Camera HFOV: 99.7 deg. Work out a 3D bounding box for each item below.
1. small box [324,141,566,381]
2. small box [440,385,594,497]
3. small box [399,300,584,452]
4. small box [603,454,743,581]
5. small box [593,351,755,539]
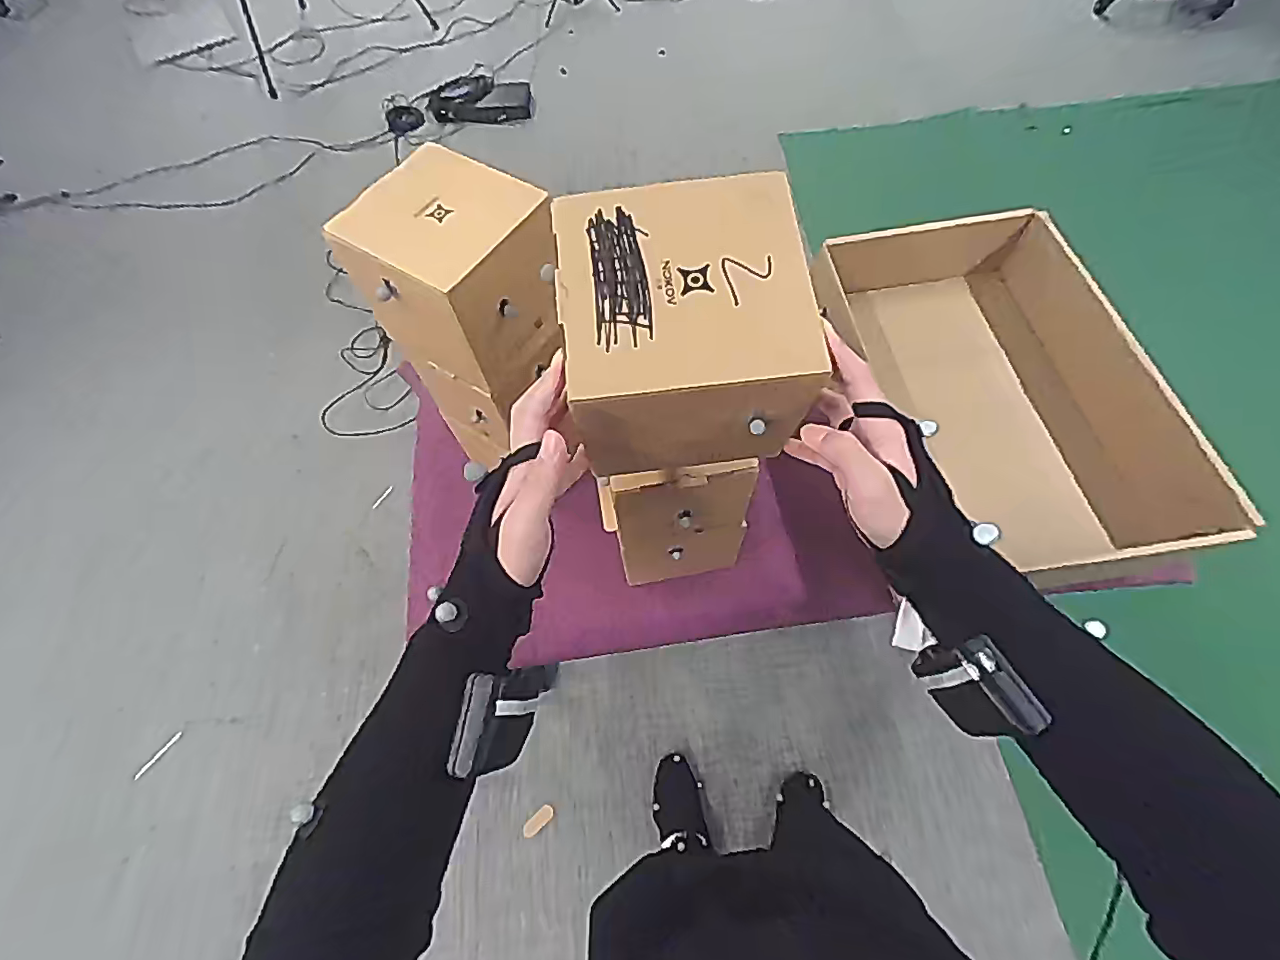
[{"bbox_3d":[-0.206,-0.242,0.629,0.179,0.176,0.168,30,69,15],"label":"small box"},{"bbox_3d":[-0.195,-0.093,0.917,0.179,0.176,0.168,31,68,16],"label":"small box"},{"bbox_3d":[-0.195,-0.170,0.773,0.168,0.176,0.179,32,69,15],"label":"small box"},{"bbox_3d":[0.047,0.045,0.836,0.179,0.176,0.168,-10,63,-3],"label":"small box"},{"bbox_3d":[0.039,-0.034,0.693,0.168,0.176,0.179,-9,63,-2],"label":"small box"}]
